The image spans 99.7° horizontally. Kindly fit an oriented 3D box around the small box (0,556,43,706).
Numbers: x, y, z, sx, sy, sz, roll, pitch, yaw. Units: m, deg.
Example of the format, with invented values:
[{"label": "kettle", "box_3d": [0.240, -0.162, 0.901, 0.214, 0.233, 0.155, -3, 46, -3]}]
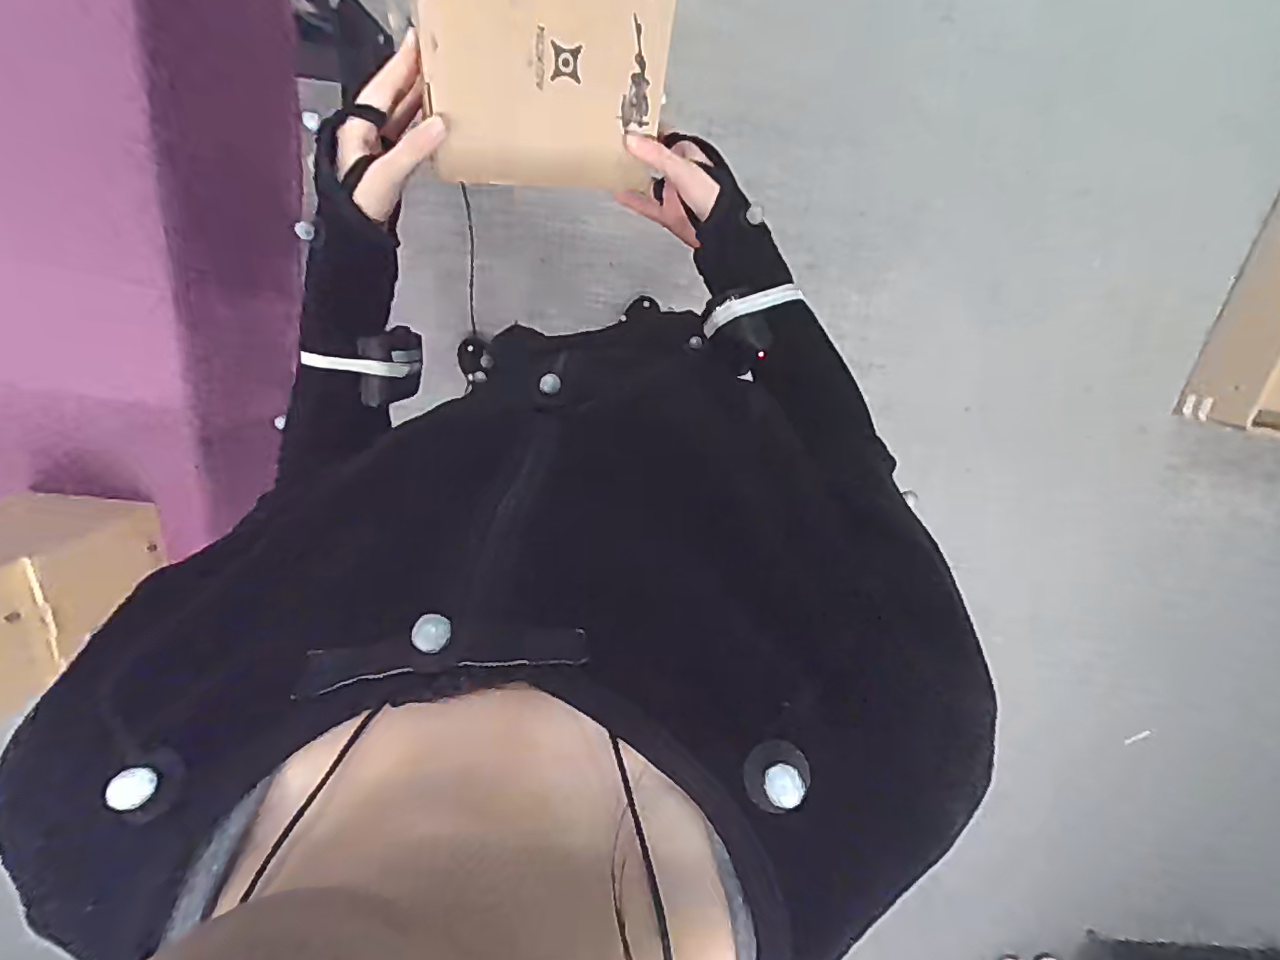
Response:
[{"label": "small box", "box_3d": [-0.773, 0.176, 0.543, 0.179, 0.176, 0.168, 4, 108, -1]}]
